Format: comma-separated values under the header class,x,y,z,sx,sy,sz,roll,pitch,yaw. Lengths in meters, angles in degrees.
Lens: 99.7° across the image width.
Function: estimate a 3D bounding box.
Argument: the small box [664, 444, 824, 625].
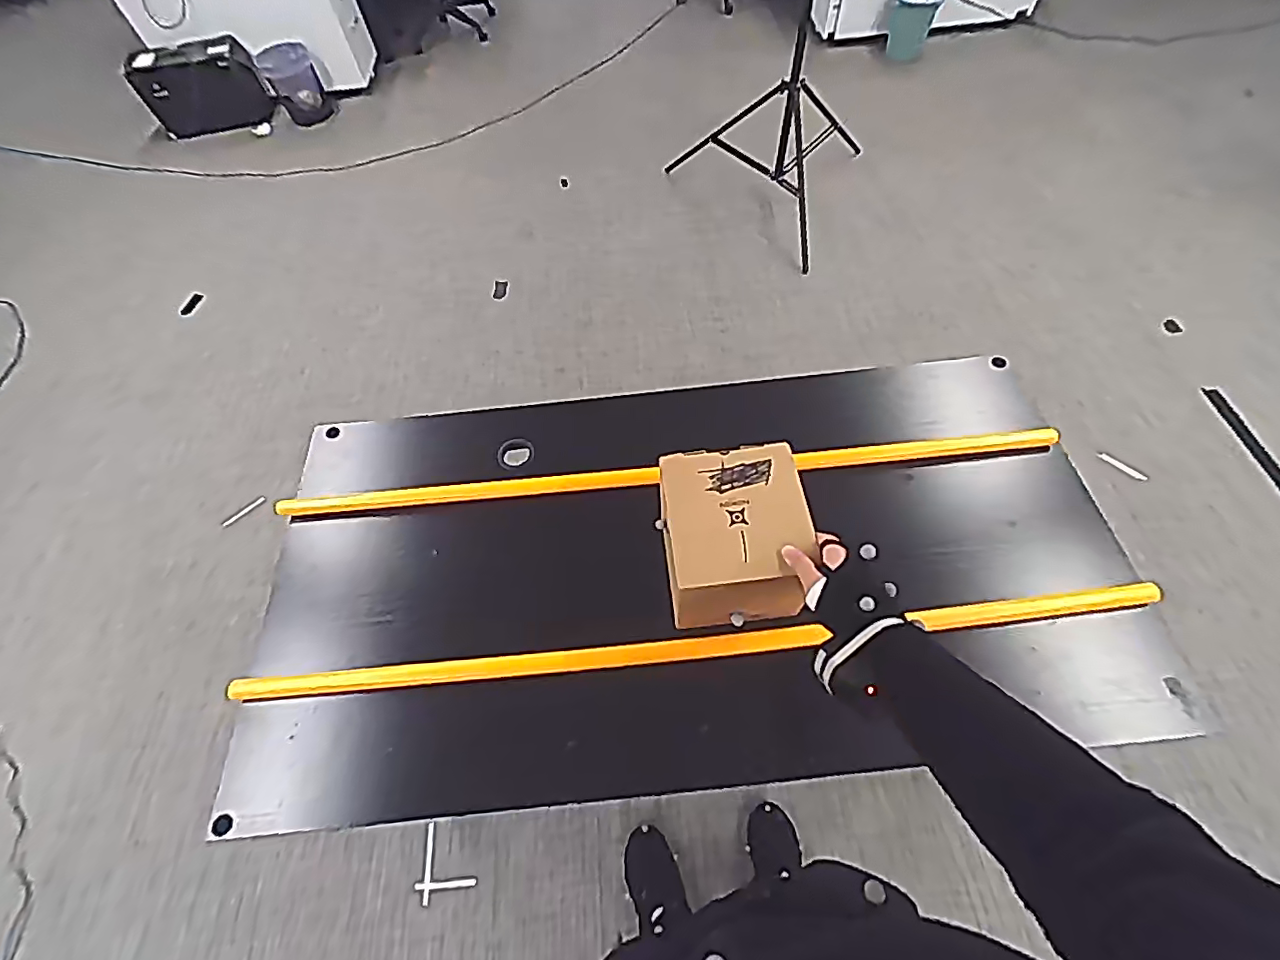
class,x,y,z,sx,sy,sz,roll,pitch,yaw
small box,0.120,0.076,0.707,0.168,0.176,0.179,-6,60,0
